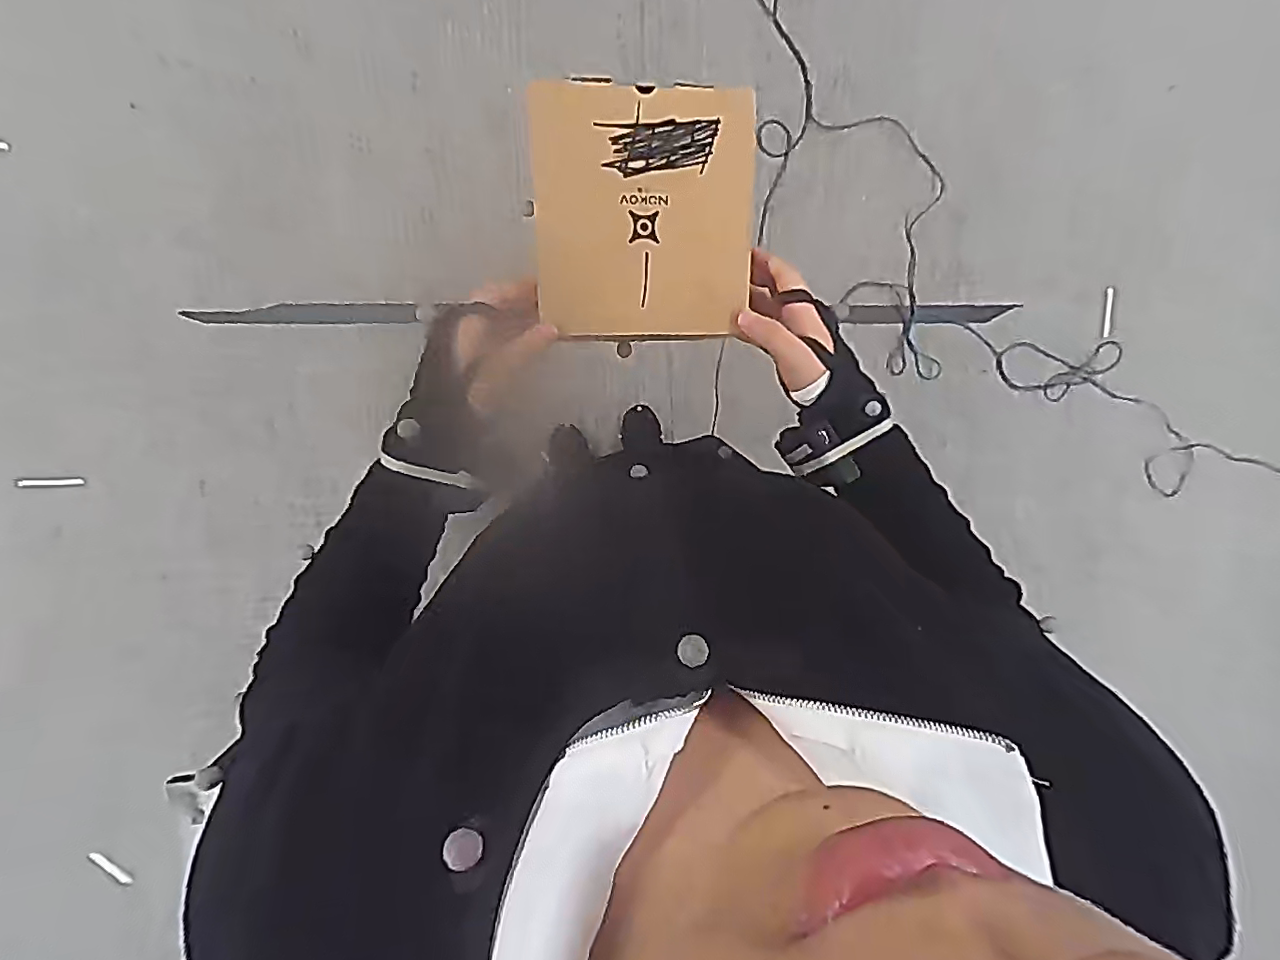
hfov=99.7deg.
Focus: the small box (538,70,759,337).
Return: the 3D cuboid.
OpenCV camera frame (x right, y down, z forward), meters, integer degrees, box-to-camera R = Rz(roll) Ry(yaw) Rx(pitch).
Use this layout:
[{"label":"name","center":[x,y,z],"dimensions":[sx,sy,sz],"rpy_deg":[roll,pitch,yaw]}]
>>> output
[{"label":"small box","center":[-0.002,-0.222,0.482],"dimensions":[0.168,0.176,0.179],"rpy_deg":[-3,103,-6]}]
